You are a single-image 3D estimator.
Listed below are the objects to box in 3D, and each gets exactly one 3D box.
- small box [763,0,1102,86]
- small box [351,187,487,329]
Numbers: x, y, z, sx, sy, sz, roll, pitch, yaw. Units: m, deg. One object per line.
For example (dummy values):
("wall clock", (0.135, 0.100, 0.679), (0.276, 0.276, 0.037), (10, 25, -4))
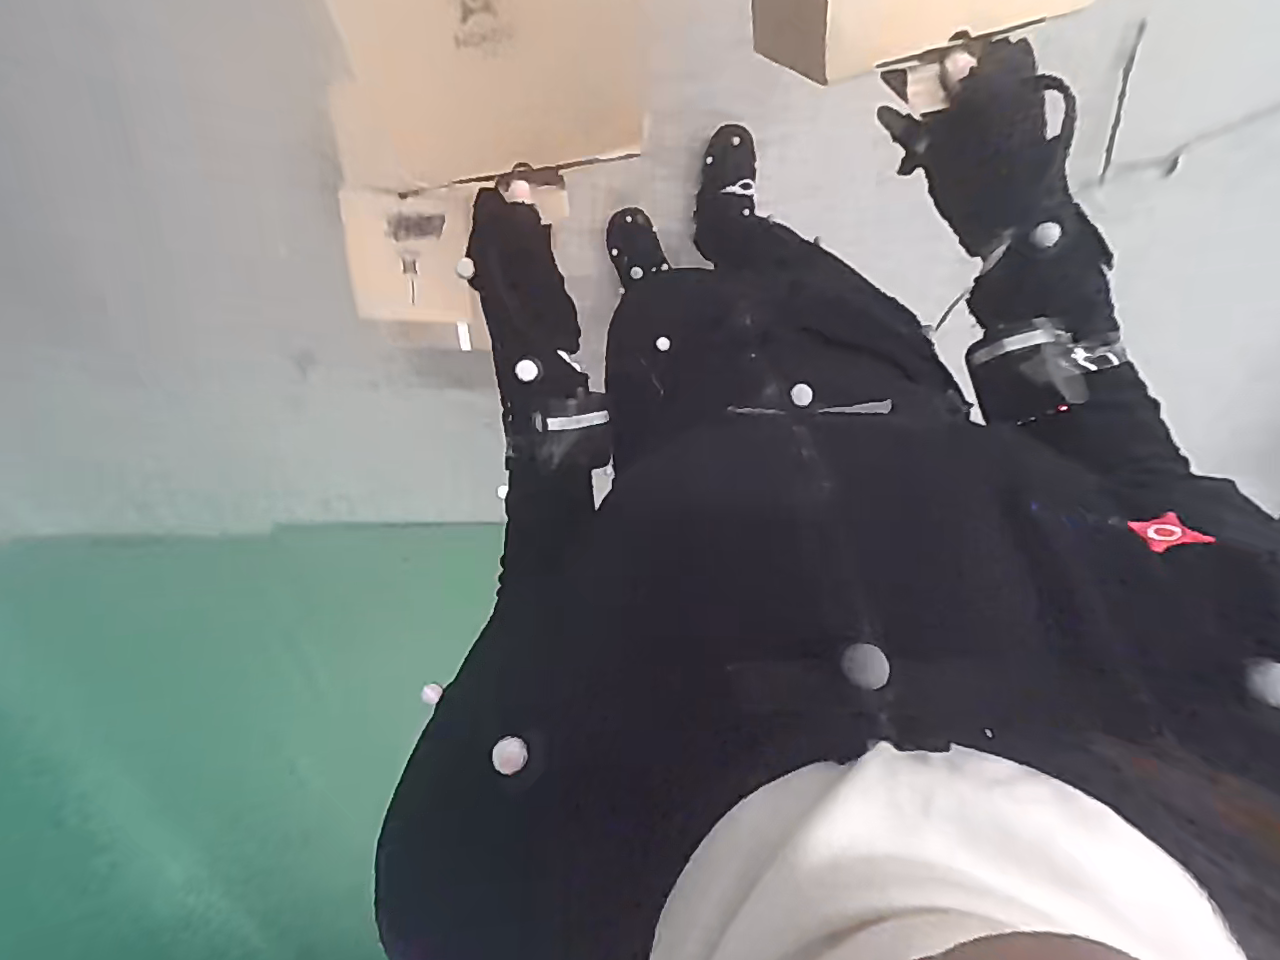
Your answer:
("small box", (0.175, -0.381, 0.333), (0.168, 0.176, 0.179), (-14, 135, 3))
("small box", (-0.335, -0.353, 0.853), (0.168, 0.176, 0.179), (3, 120, -11))
